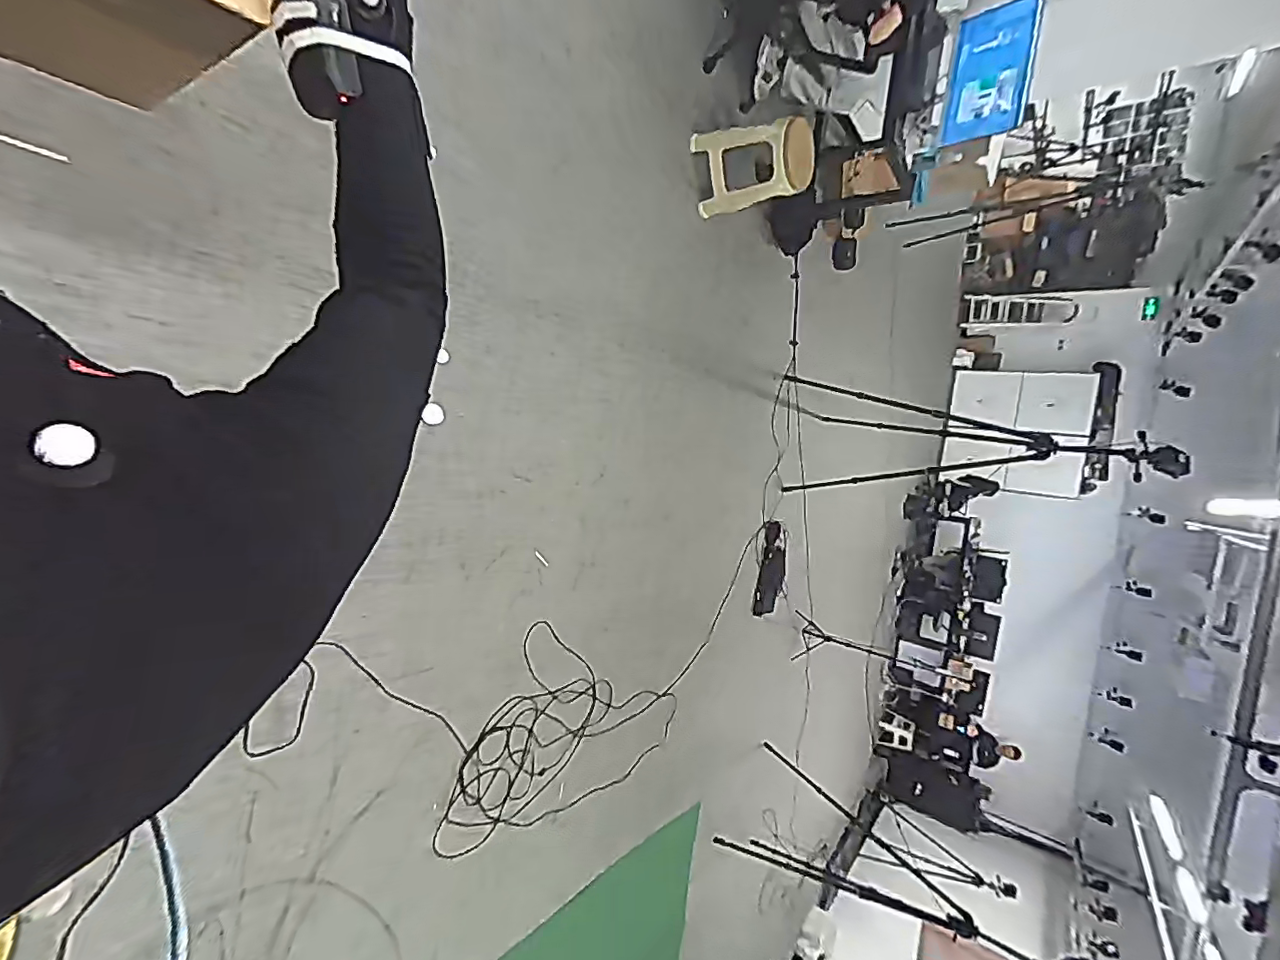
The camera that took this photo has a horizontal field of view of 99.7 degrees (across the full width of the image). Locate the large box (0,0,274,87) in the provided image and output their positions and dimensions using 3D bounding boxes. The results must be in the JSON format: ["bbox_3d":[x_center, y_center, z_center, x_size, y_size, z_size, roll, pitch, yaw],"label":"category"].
[{"bbox_3d":[-0.474,-0.495,0.278,0.408,0.320,0.320,-6,108,-54],"label":"large box"}]
